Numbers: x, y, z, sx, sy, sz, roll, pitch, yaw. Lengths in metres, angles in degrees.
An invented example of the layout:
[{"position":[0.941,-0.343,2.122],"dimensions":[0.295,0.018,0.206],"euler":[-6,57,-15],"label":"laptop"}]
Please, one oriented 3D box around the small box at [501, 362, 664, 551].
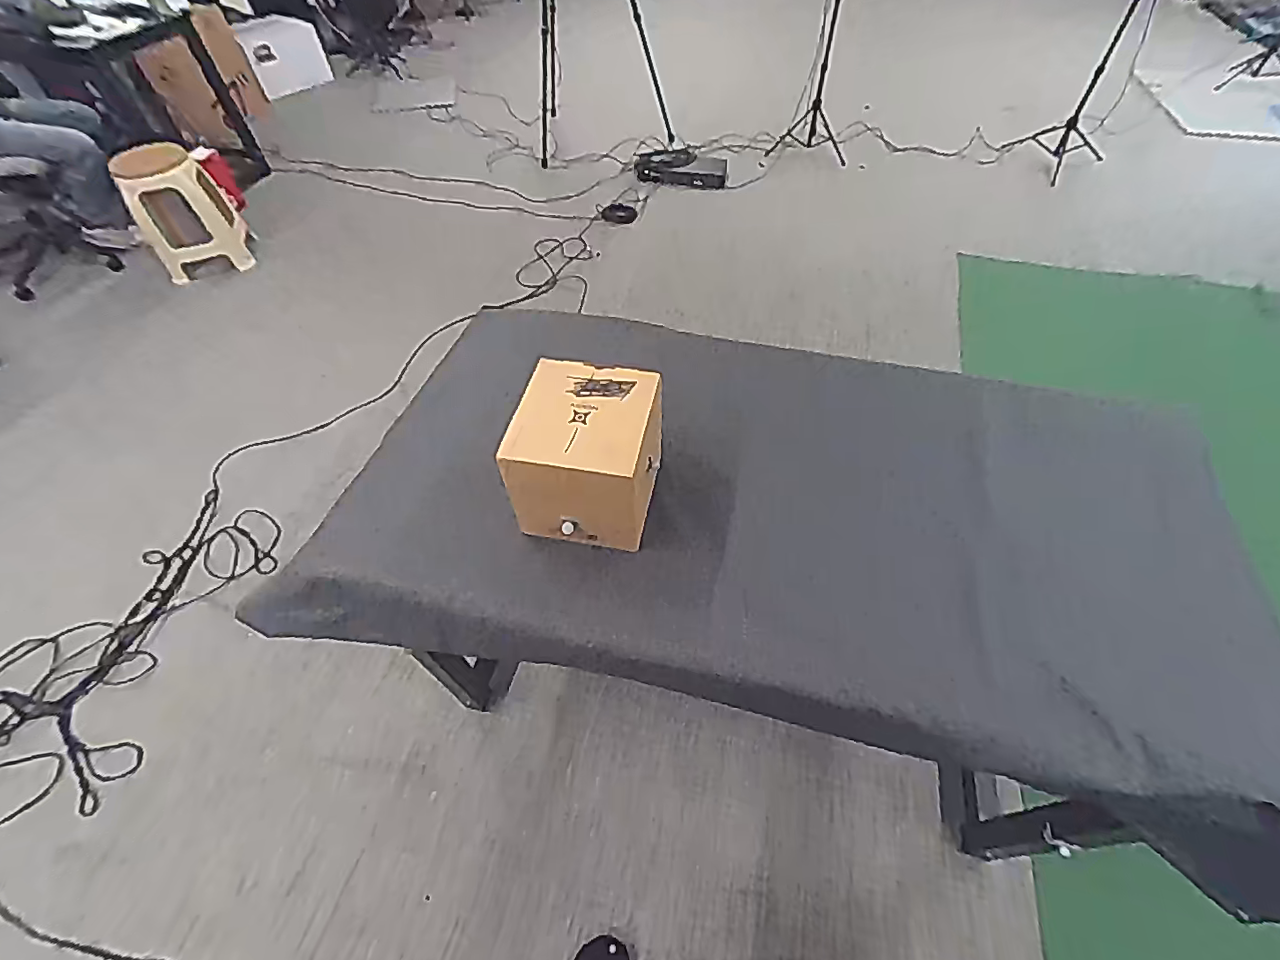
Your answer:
[{"position":[-0.065,-0.031,0.726],"dimensions":[0.168,0.176,0.179],"euler":[8,53,8],"label":"small box"}]
